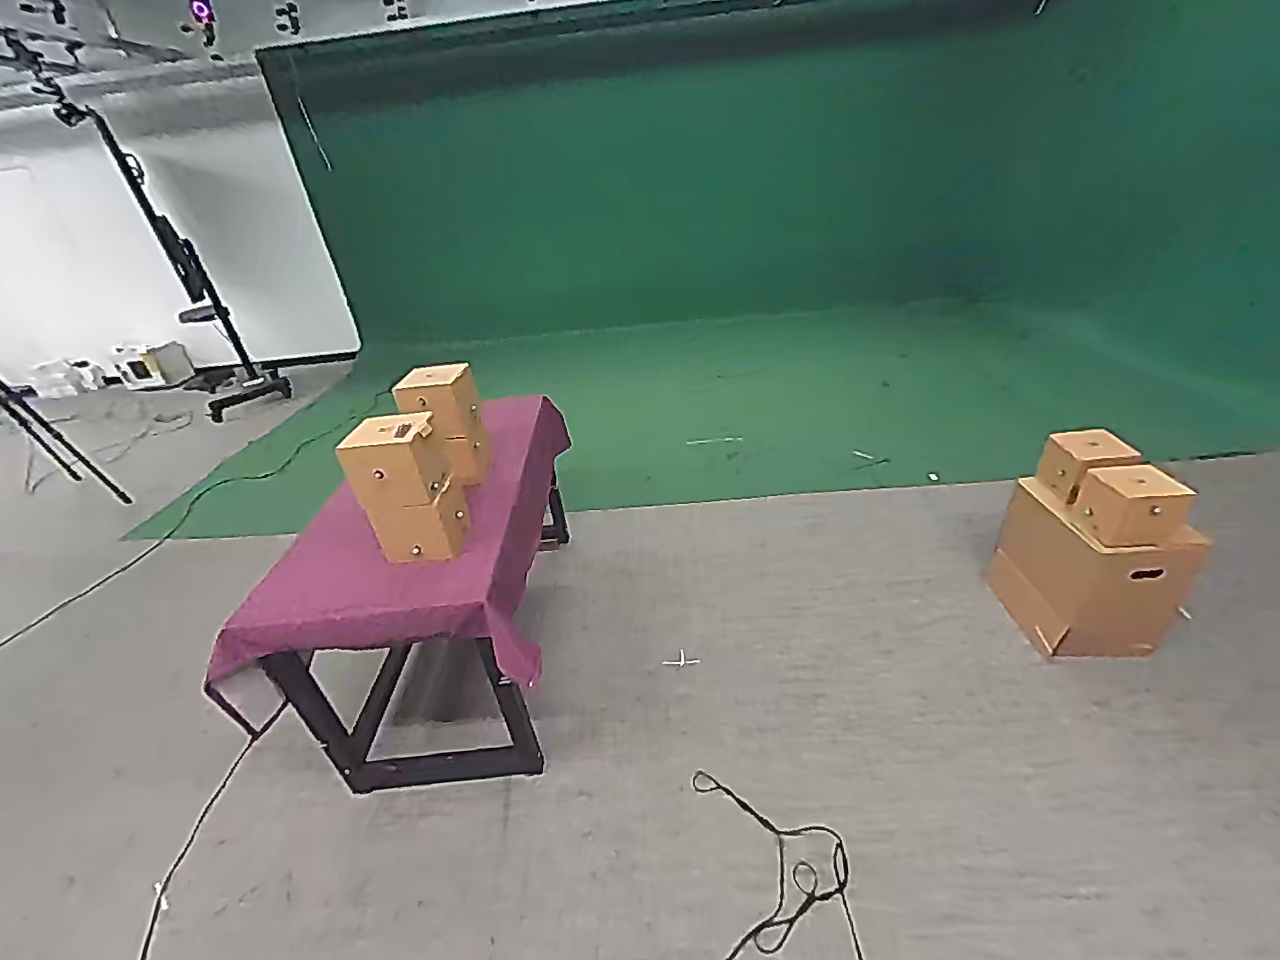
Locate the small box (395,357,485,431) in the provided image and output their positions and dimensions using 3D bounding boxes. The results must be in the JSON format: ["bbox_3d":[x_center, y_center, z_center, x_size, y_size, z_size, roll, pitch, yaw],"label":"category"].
[{"bbox_3d":[-0.583,-0.251,1.600,0.179,0.176,0.168,-3,33,5],"label":"small box"}]

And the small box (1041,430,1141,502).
[{"bbox_3d":[1.434,-0.043,1.738,0.179,0.176,0.168,-4,34,5],"label":"small box"}]

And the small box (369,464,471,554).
[{"bbox_3d":[-0.551,0.075,1.388,0.179,0.176,0.168,-4,31,3],"label":"small box"}]

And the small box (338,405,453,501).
[{"bbox_3d":[-0.575,-0.065,1.303,0.179,0.176,0.168,-5,32,5],"label":"small box"}]

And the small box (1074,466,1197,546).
[{"bbox_3d":[1.406,0.076,1.551,0.179,0.176,0.168,-3,31,5],"label":"small box"}]
